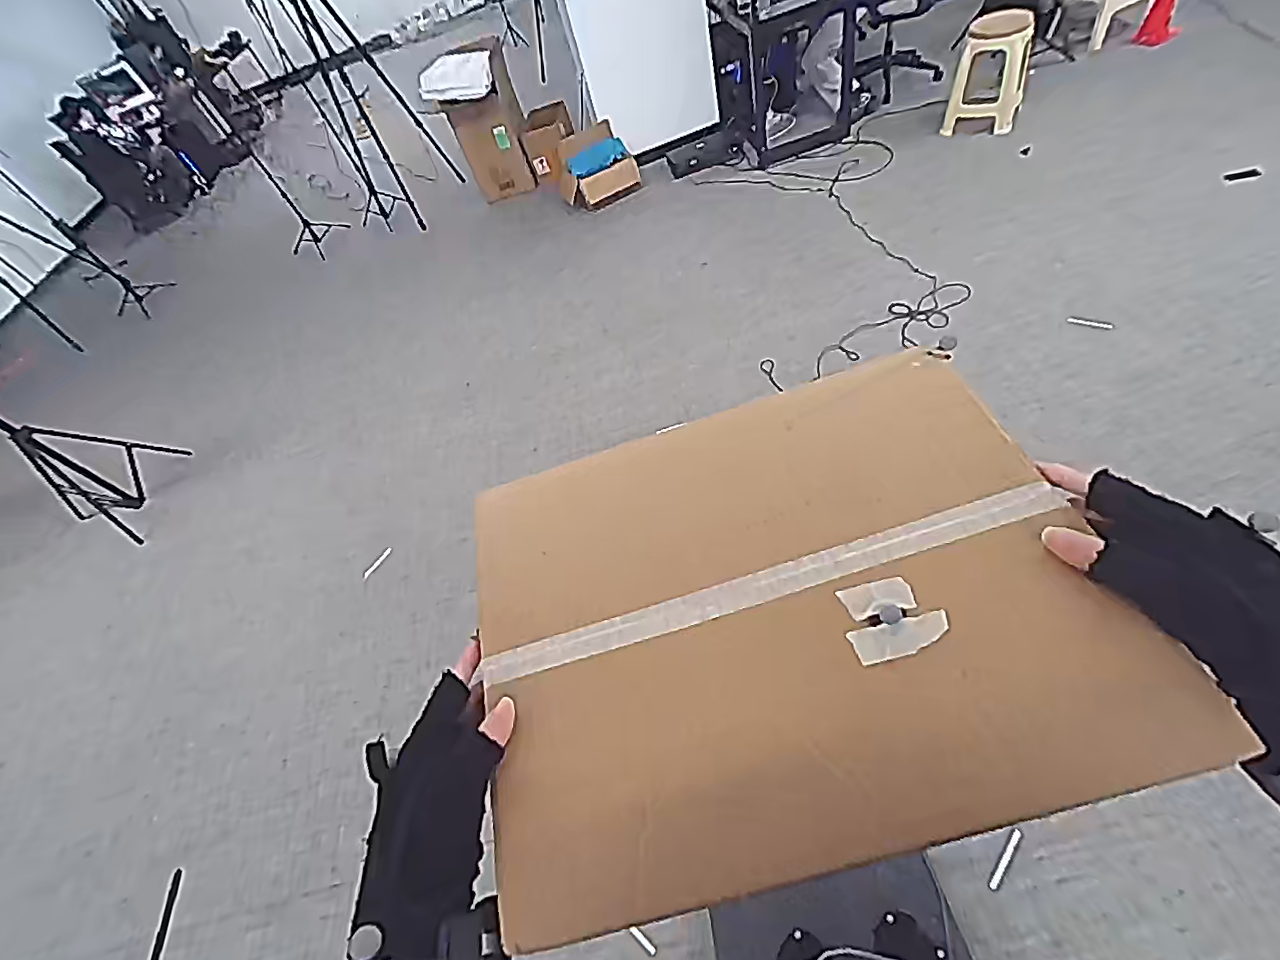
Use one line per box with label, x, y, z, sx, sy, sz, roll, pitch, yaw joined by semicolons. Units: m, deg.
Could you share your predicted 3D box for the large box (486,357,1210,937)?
large box;0.117;0.156;0.504;0.408;0.320;0.320;-18;56;3
